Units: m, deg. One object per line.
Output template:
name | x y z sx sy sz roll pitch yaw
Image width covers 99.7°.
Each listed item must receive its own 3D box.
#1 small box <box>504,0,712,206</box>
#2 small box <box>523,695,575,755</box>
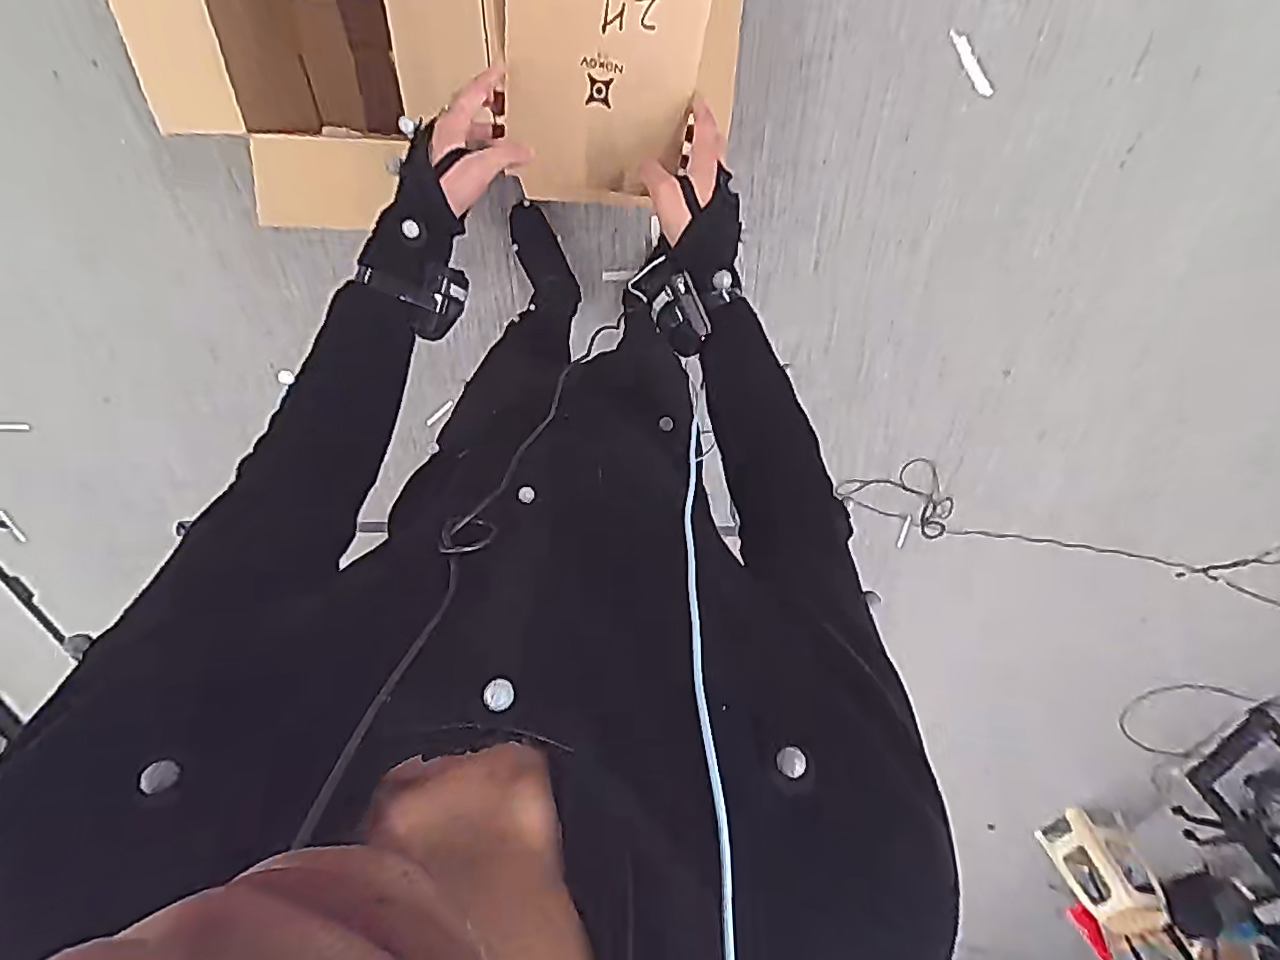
small box | -0.039 -0.397 0.529 0.168 0.176 0.179 4 131 -10
small box | -0.370 0.999 2.215 0.179 0.176 0.168 -1 124 1
